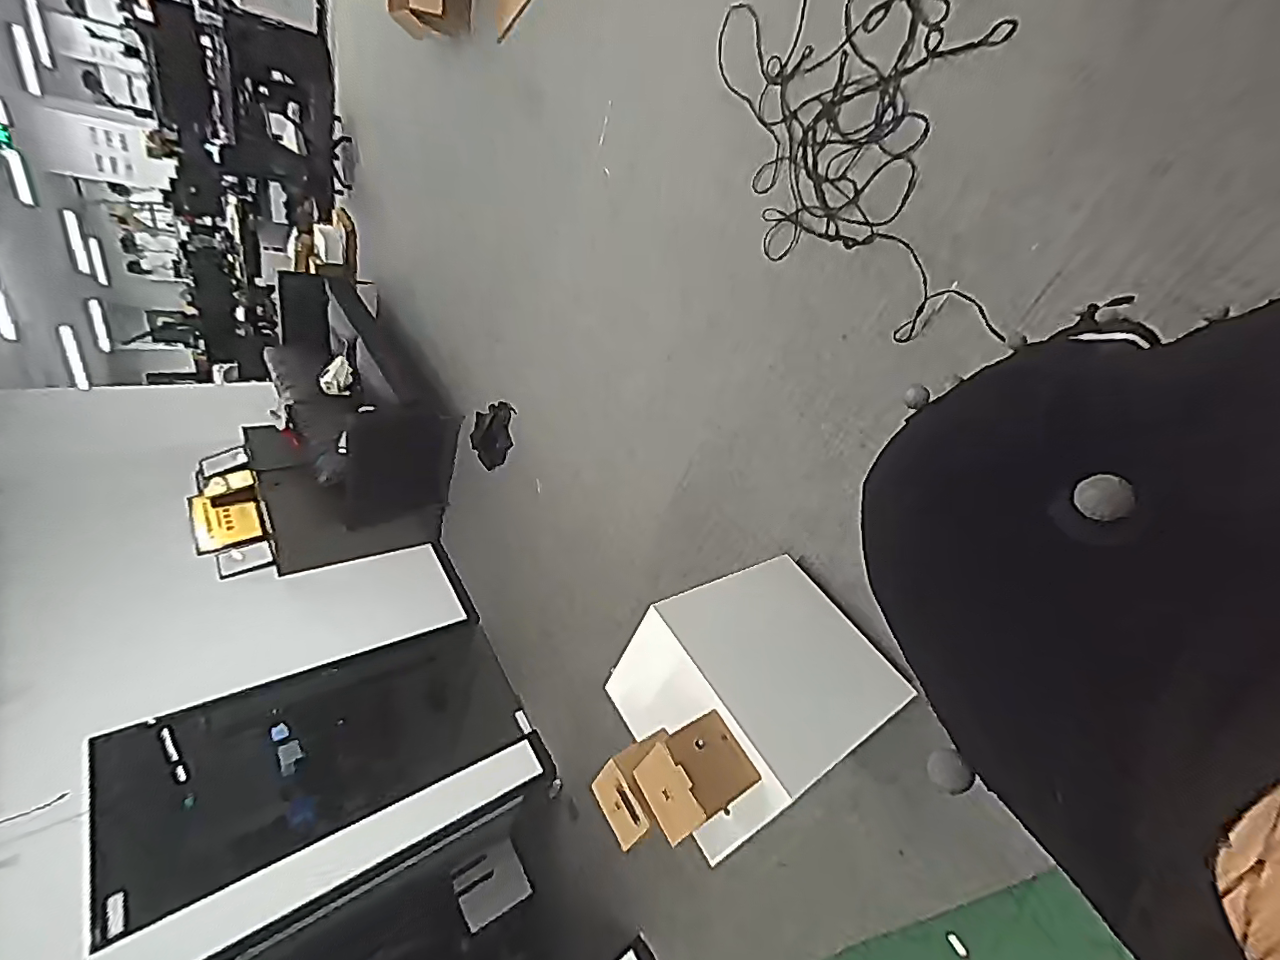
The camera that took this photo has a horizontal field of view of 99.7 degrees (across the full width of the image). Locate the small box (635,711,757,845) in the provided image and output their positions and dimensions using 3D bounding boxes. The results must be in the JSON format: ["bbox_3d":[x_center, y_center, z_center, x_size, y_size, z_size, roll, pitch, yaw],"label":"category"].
[{"bbox_3d":[0.123,0.632,1.160,0.168,0.176,0.179,52,136,32],"label":"small box"}]
